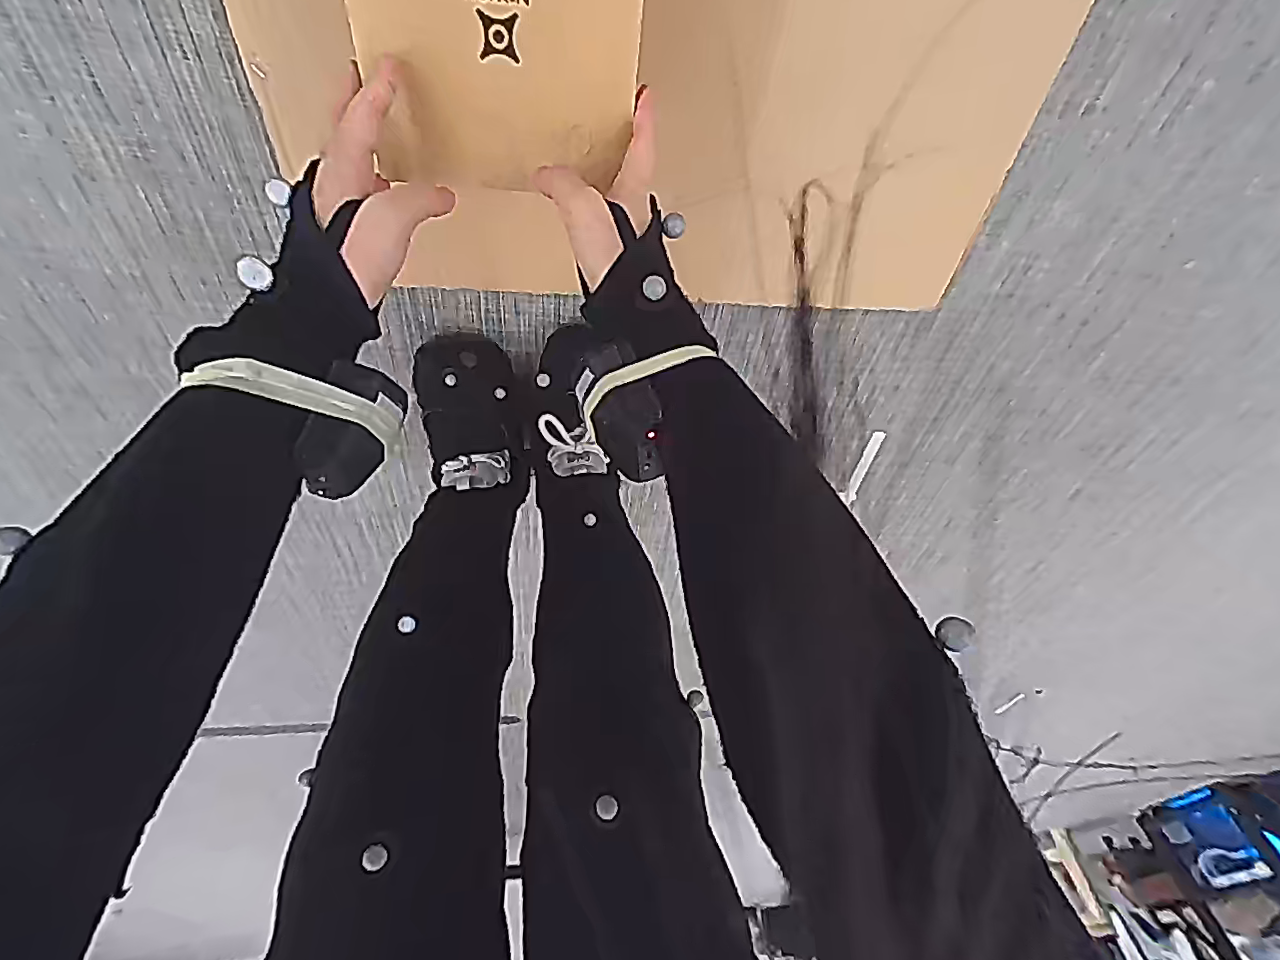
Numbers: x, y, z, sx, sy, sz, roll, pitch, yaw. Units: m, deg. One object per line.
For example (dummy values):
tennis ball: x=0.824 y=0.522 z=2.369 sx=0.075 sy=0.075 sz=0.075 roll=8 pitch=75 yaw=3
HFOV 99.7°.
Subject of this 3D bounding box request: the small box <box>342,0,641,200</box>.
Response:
small box: x=-0.089 y=-0.313 z=0.362 sx=0.168 sy=0.176 sz=0.179 roll=0 pitch=134 yaw=-8
